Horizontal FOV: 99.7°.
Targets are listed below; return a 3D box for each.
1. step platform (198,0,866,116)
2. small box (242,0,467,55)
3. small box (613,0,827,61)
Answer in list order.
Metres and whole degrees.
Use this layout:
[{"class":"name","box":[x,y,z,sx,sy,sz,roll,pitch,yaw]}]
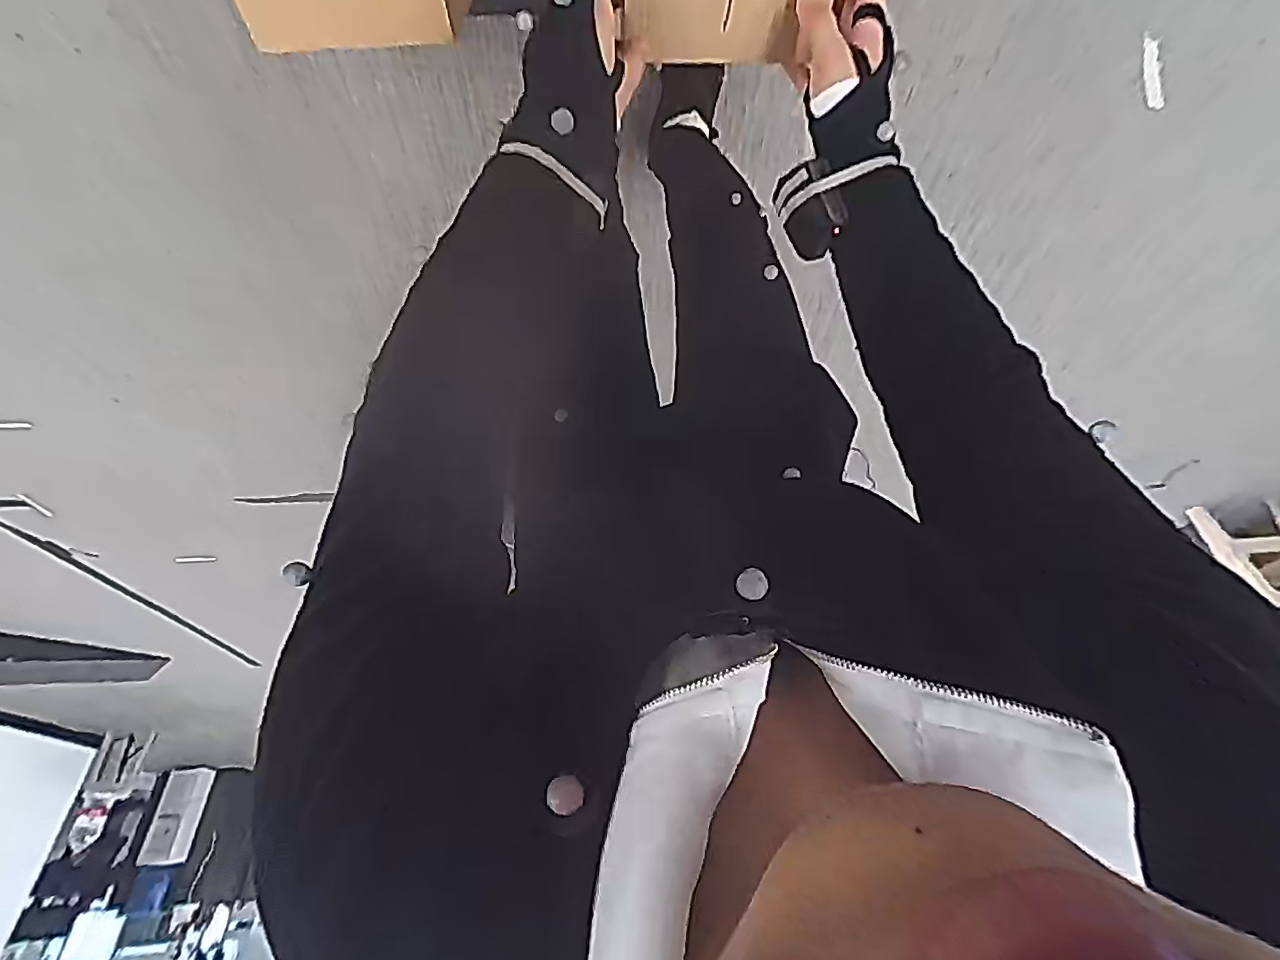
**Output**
[{"class":"step platform","box":[-0.105,-0.590,0.577,0.684,0.204,0.286,-3,144,-3]},{"class":"small box","box":[-0.256,-0.500,0.468,0.179,0.176,0.168,-4,143,-1]},{"class":"small box","box":[0.061,-0.469,0.438,0.168,0.176,0.179,-3,140,-4]}]
